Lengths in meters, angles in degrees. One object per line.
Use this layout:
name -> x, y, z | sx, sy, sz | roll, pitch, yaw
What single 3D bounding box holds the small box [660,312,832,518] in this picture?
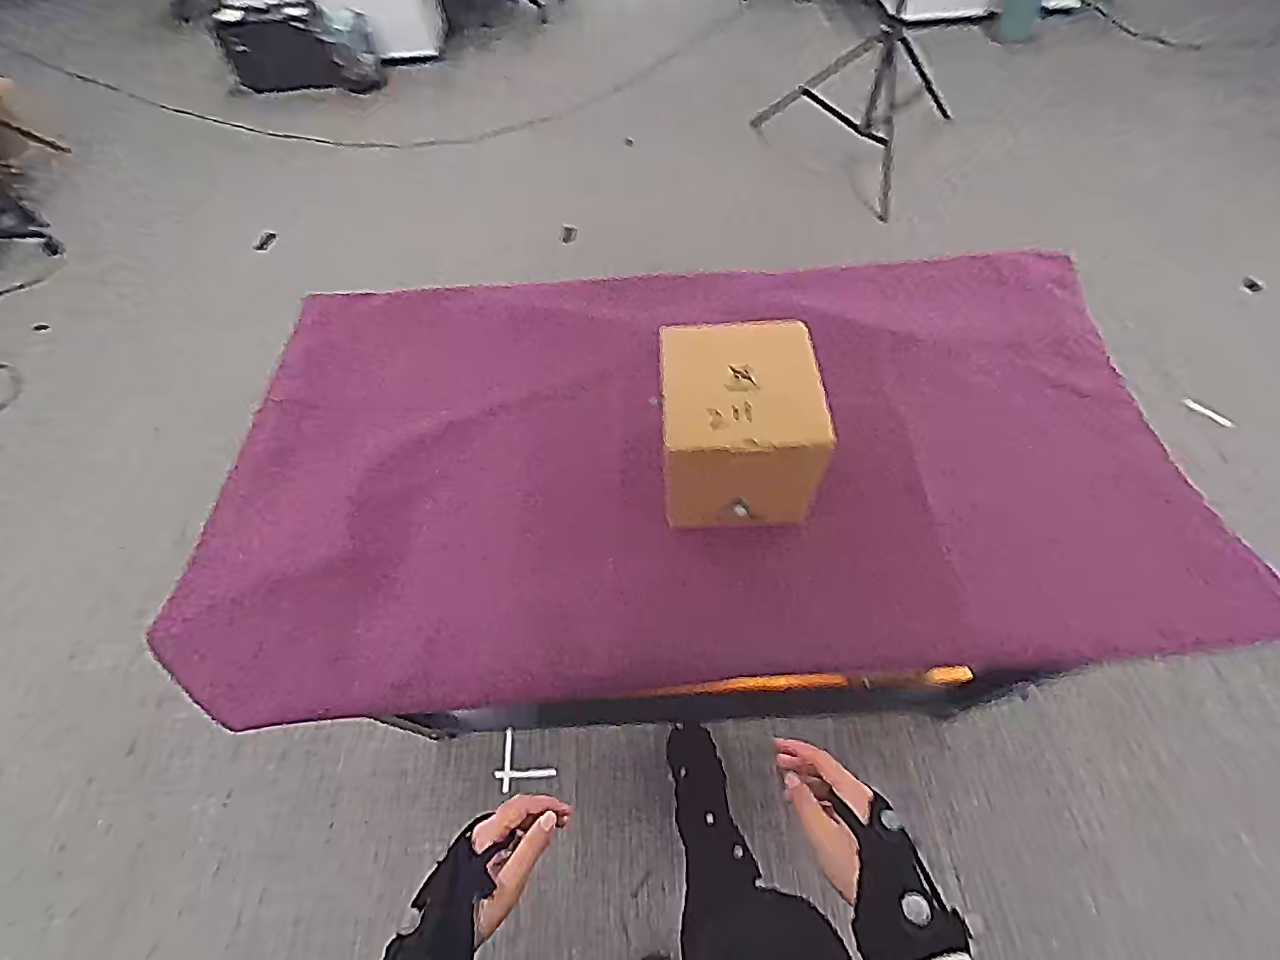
small box -> 0.107, -0.072, 0.635 | 0.168, 0.176, 0.179 | -3, 58, 2
